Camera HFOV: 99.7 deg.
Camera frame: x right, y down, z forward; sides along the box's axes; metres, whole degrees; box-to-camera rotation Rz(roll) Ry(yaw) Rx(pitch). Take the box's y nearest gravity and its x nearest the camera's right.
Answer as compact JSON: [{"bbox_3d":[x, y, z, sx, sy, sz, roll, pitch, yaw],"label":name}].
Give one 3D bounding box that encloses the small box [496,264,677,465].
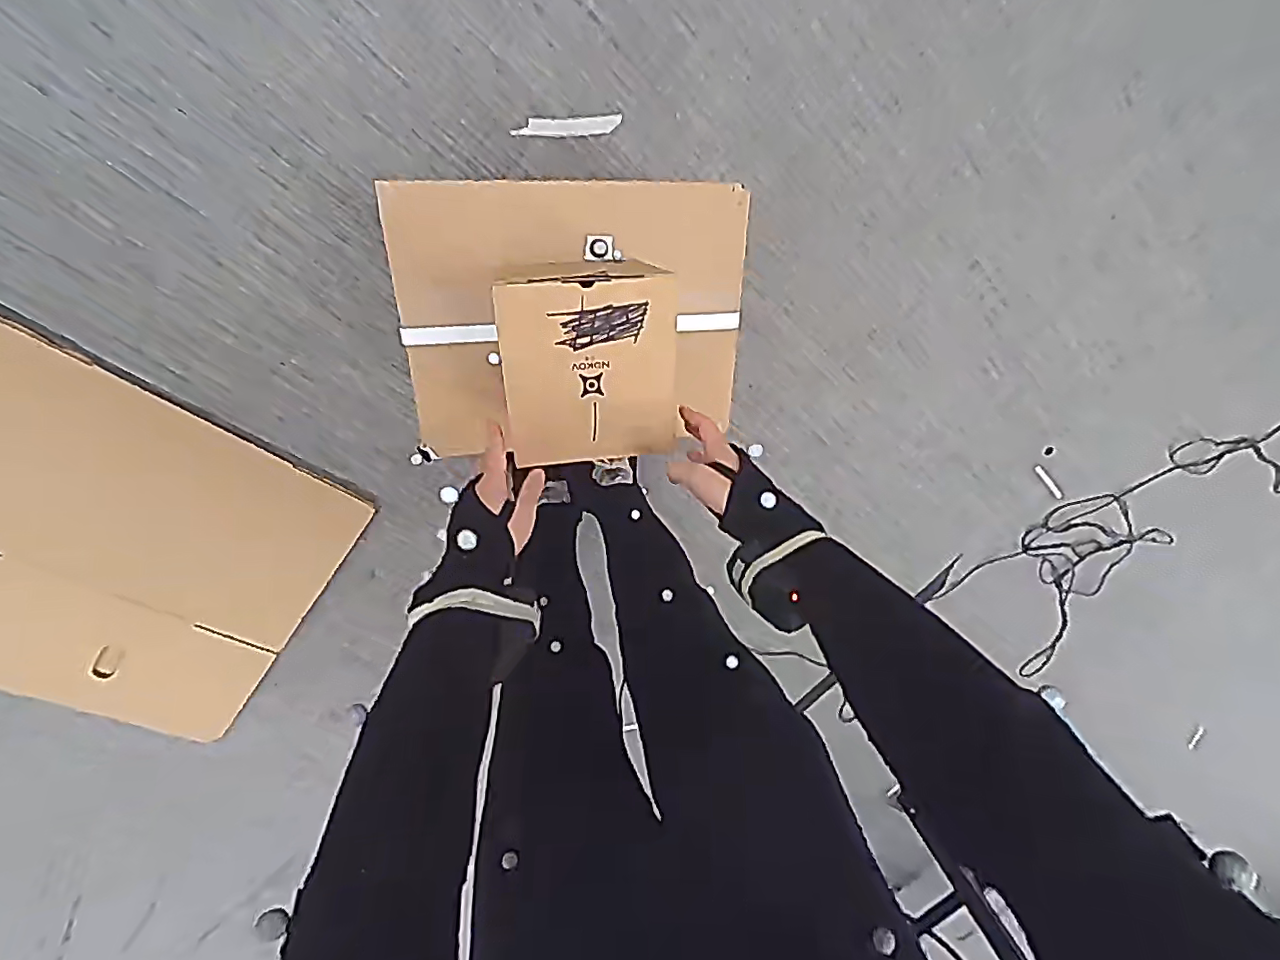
[{"bbox_3d":[-0.061,-0.135,0.581,0.168,0.176,0.179,-6,117,-9],"label":"small box"}]
